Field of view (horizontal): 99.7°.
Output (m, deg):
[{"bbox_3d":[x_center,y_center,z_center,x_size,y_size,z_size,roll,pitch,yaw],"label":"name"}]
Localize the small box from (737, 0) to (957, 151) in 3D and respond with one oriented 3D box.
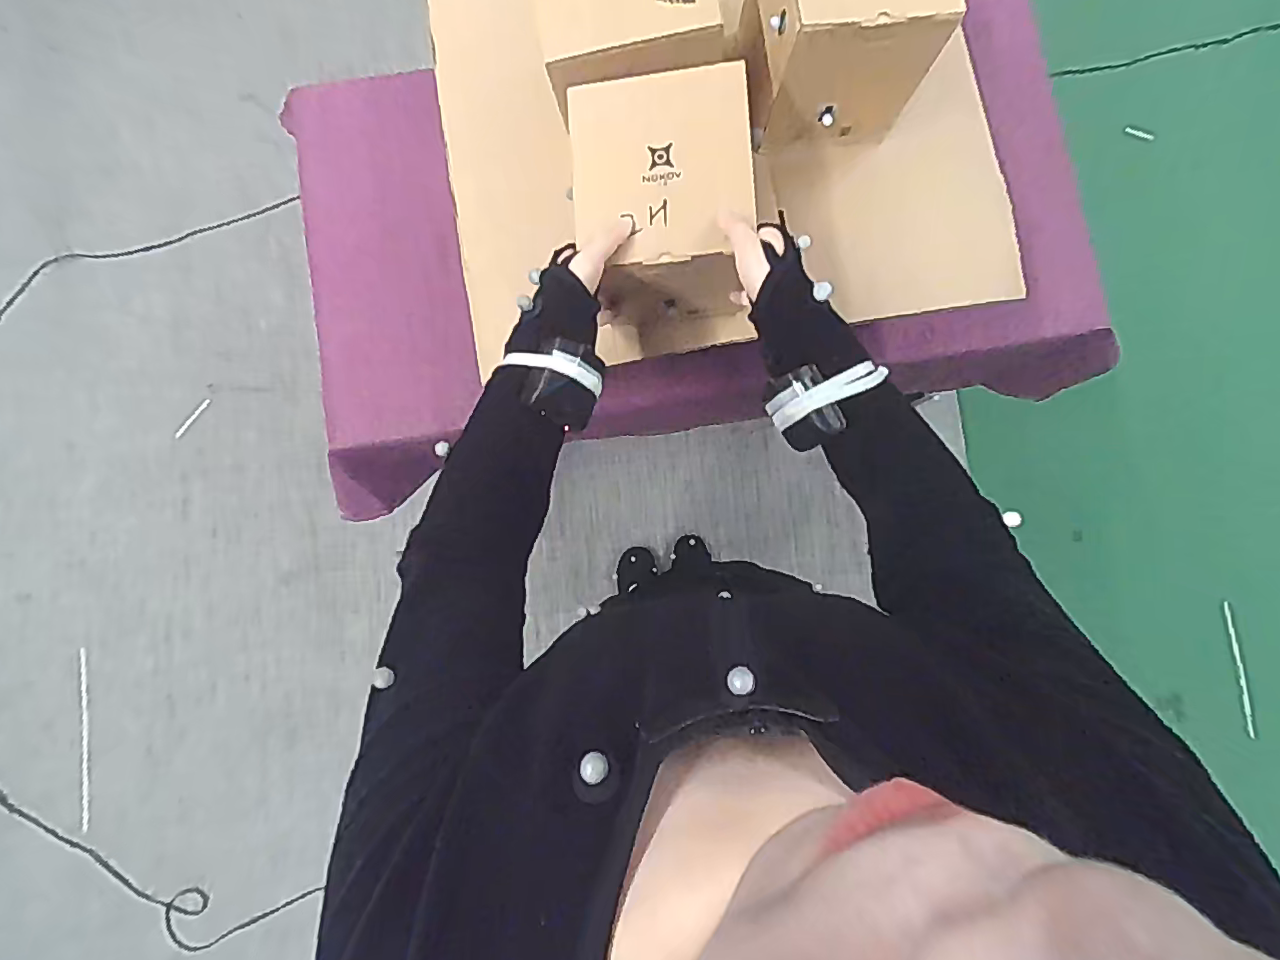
[{"bbox_3d":[0.215,-0.513,0.610,0.168,0.176,0.179,-7,85,-3],"label":"small box"}]
